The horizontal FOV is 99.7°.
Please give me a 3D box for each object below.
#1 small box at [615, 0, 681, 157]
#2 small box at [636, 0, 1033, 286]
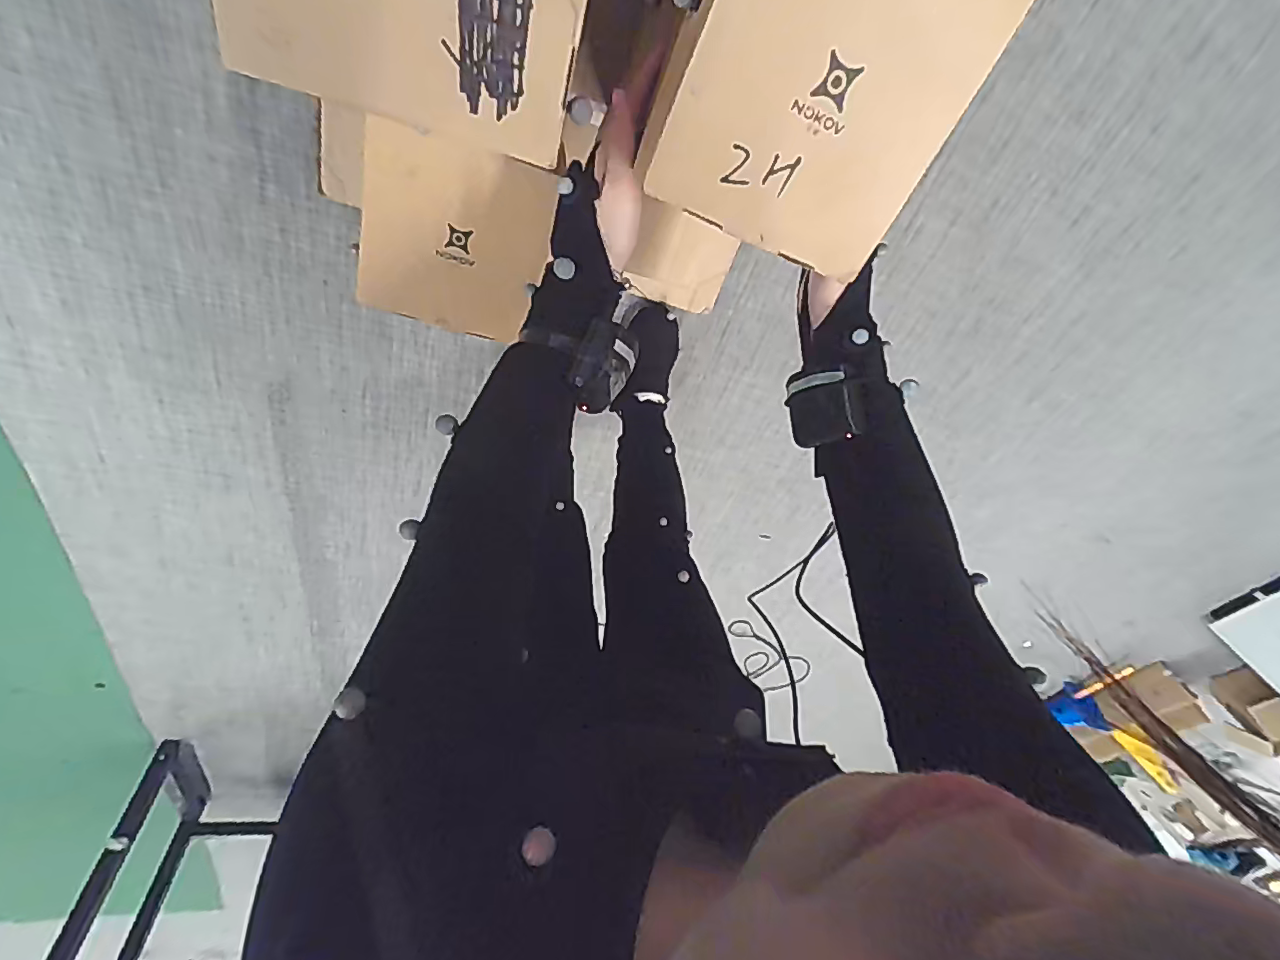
[{"bbox_3d":[0.085,-0.377,0.509,0.179,0.176,0.168,15,126,-17],"label":"small box"},{"bbox_3d":[0.103,-0.272,0.378,0.168,0.176,0.179,16,125,-17],"label":"small box"}]
